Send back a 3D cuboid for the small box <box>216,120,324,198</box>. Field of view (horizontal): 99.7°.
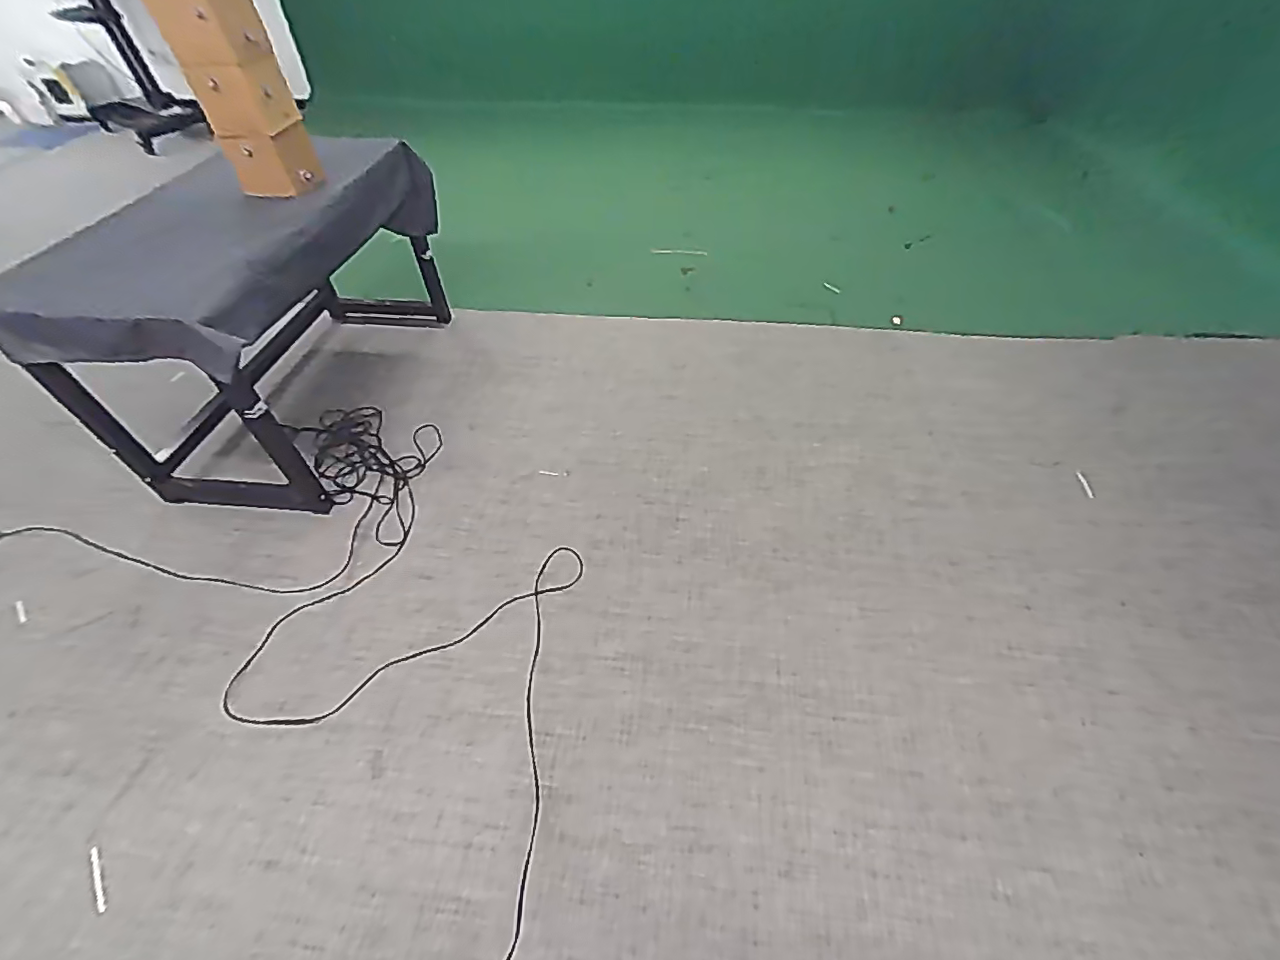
[{"bbox_3d":[-1.110,-0.974,1.638,0.179,0.176,0.168,5,50,5],"label":"small box"}]

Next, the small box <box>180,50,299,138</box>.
[{"bbox_3d":[-1.105,-1.077,1.512,0.179,0.176,0.168,3,50,6],"label":"small box"}]
